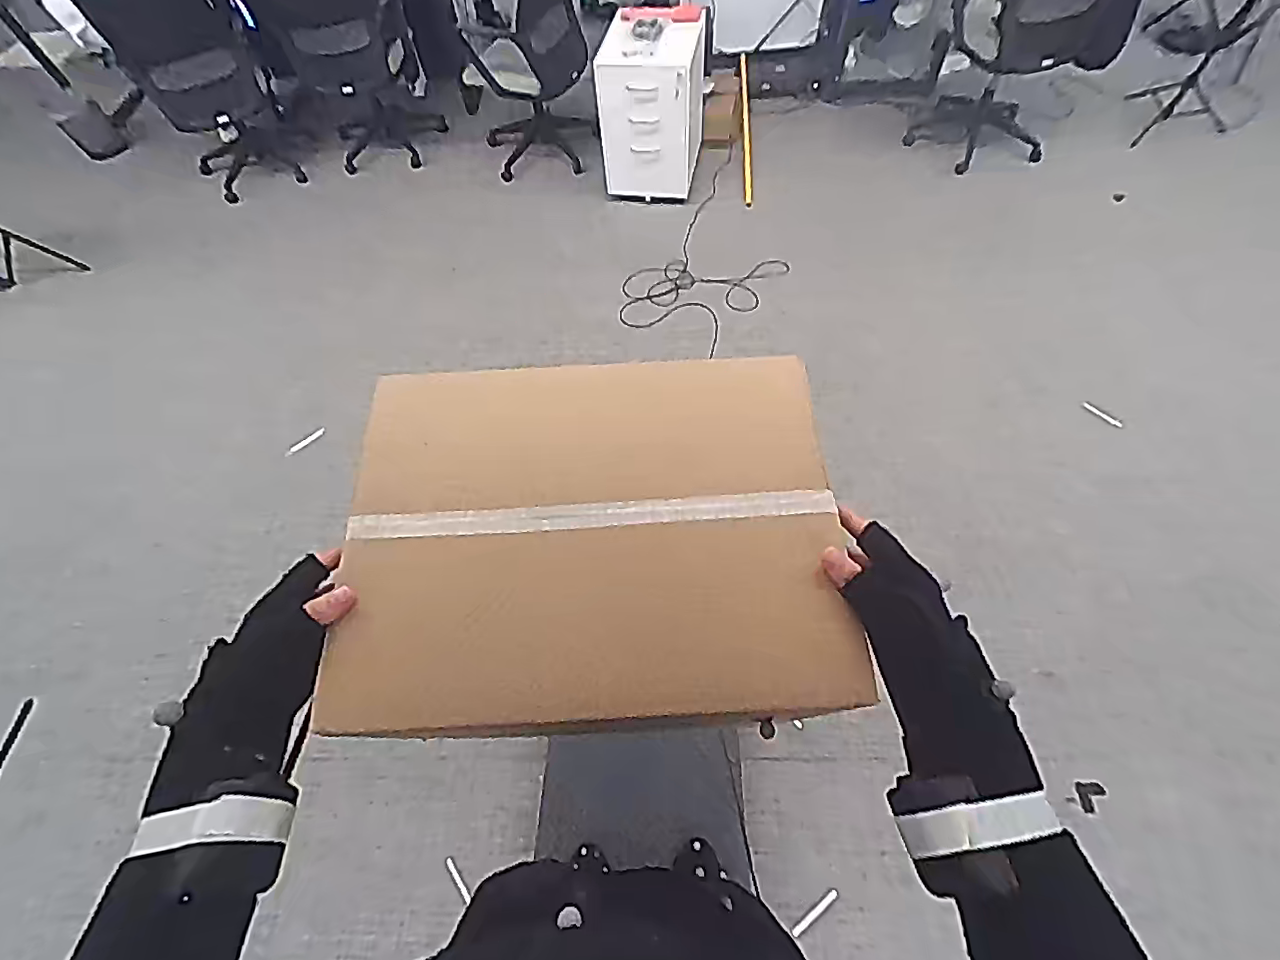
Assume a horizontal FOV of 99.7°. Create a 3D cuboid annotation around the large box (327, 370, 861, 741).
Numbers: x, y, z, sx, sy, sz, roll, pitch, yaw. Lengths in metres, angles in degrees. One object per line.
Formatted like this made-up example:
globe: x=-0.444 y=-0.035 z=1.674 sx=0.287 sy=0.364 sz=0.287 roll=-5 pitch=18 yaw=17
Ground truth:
large box: x=-0.037 y=0.104 z=0.594 sx=0.408 sy=0.320 sz=0.320 roll=-2 pitch=63 yaw=-1
